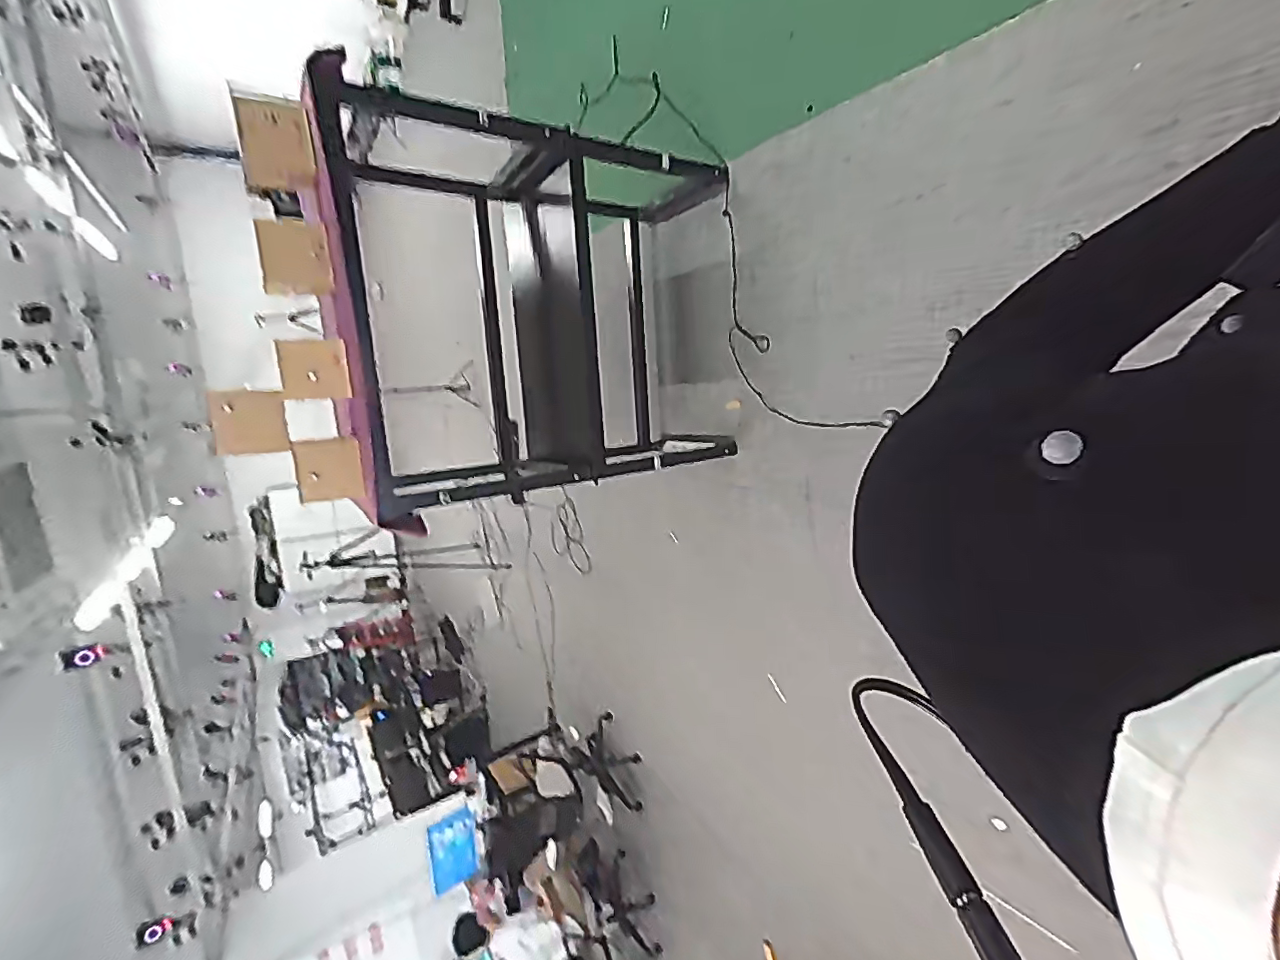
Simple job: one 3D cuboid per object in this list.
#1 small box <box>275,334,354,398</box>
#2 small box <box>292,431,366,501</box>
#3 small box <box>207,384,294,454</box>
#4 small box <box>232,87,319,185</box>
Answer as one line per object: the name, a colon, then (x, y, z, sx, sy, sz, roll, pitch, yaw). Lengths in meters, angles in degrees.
small box: (-0.923, -0.324, 1.538, 0.179, 0.176, 0.168, 13, 110, 56)
small box: (-0.913, -0.047, 1.589, 0.168, 0.176, 0.179, 12, 107, 56)
small box: (-1.060, -0.174, 1.480, 0.168, 0.176, 0.179, 15, 110, 56)
small box: (-0.973, -0.915, 1.454, 0.179, 0.176, 0.168, 14, 110, 56)
